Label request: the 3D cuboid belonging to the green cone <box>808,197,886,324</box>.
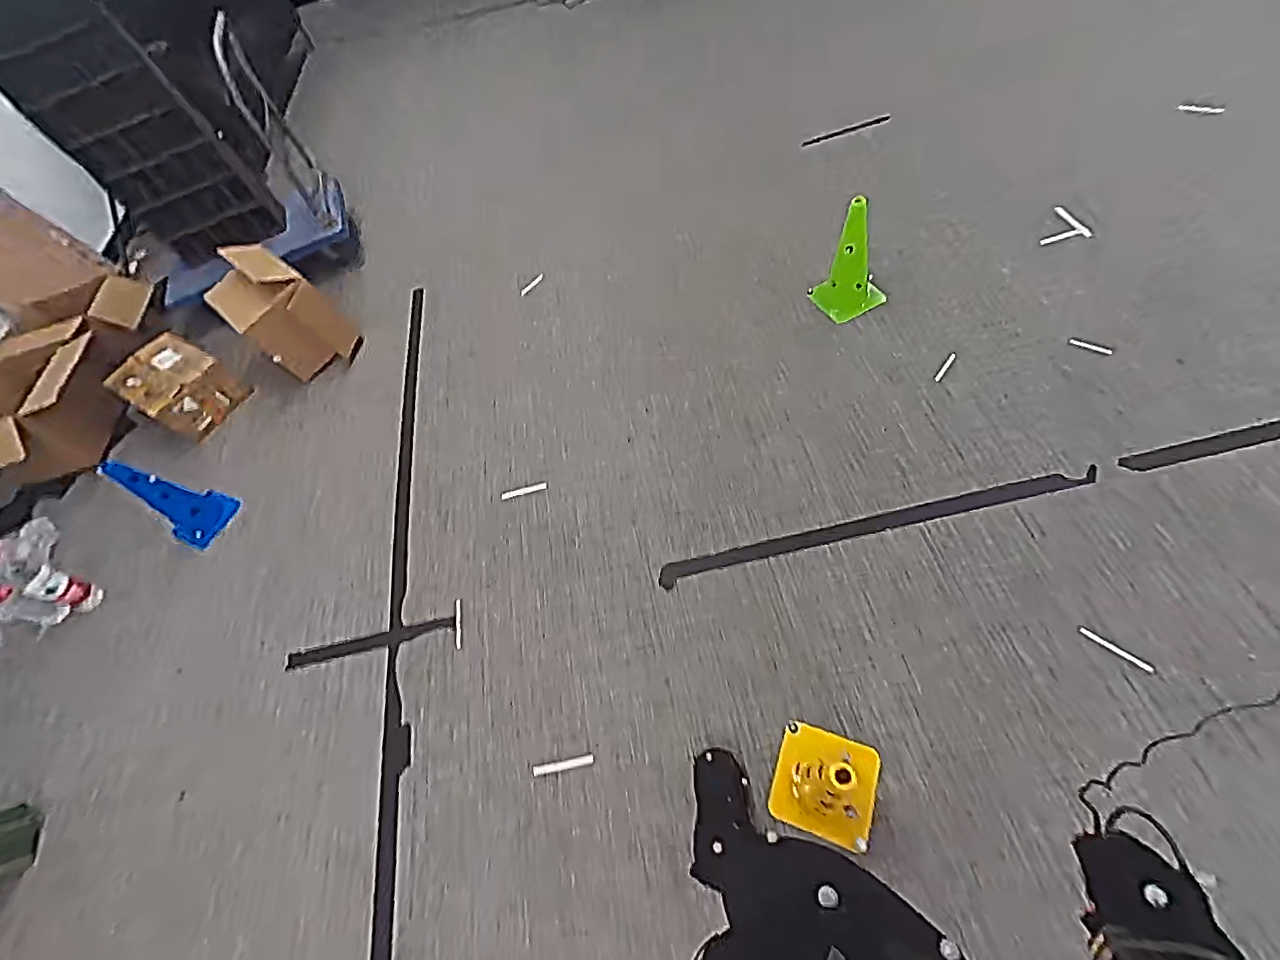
[{"bbox_3d":[0.683,-0.719,1.728,0.202,0.368,0.200,-27,57,-5],"label":"green cone"}]
